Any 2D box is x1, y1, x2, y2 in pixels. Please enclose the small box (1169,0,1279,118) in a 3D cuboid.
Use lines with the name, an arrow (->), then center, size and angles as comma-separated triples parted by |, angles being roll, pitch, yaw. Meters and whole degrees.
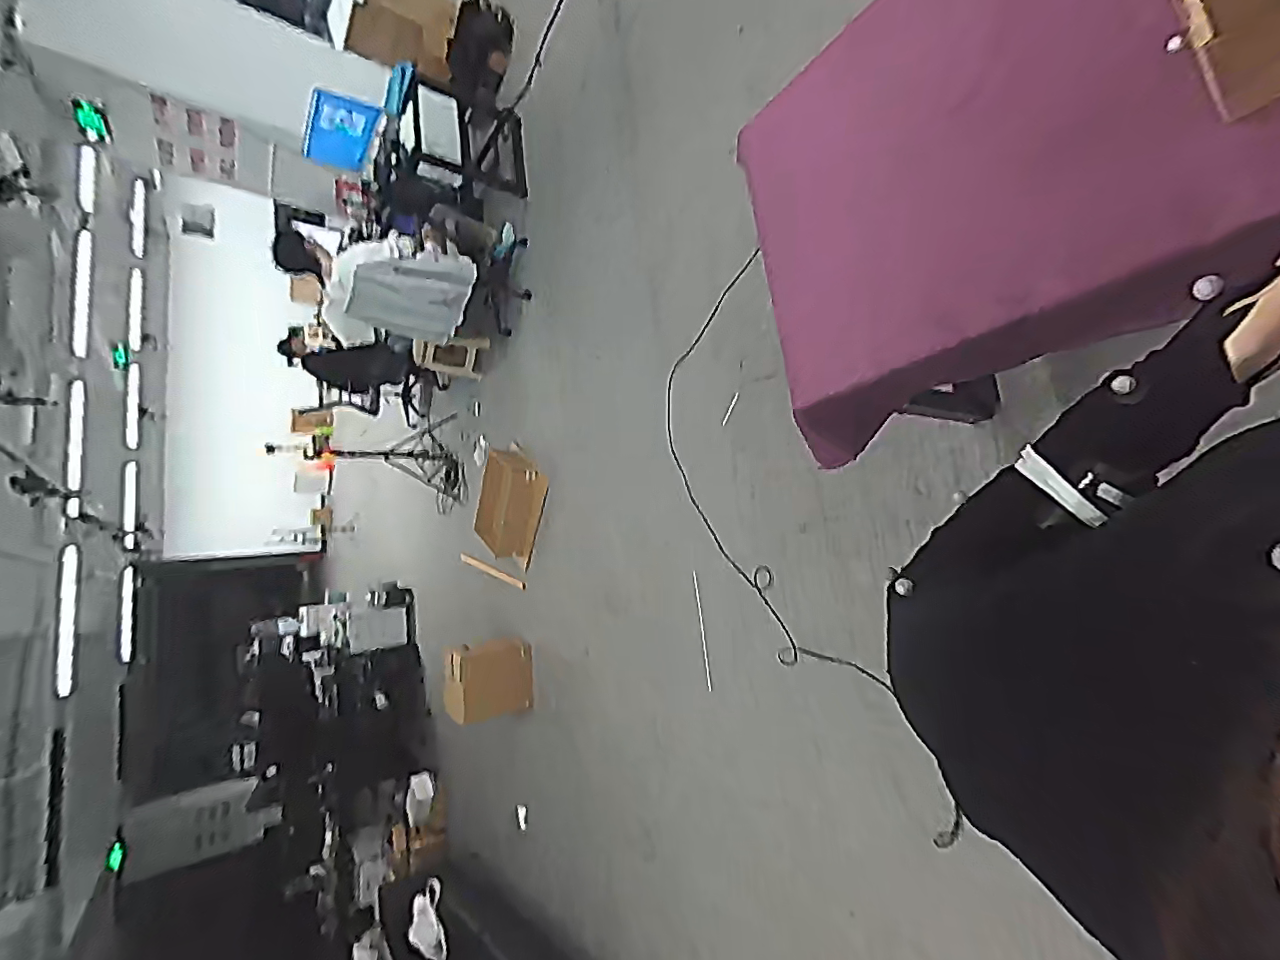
small box -> 0.596, -0.477, 0.477 | 0.179, 0.176, 0.168 | -22, 72, 51

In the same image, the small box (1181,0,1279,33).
small box -> 0.465, -0.481, 0.379 | 0.168, 0.176, 0.179 | -24, 72, 51
